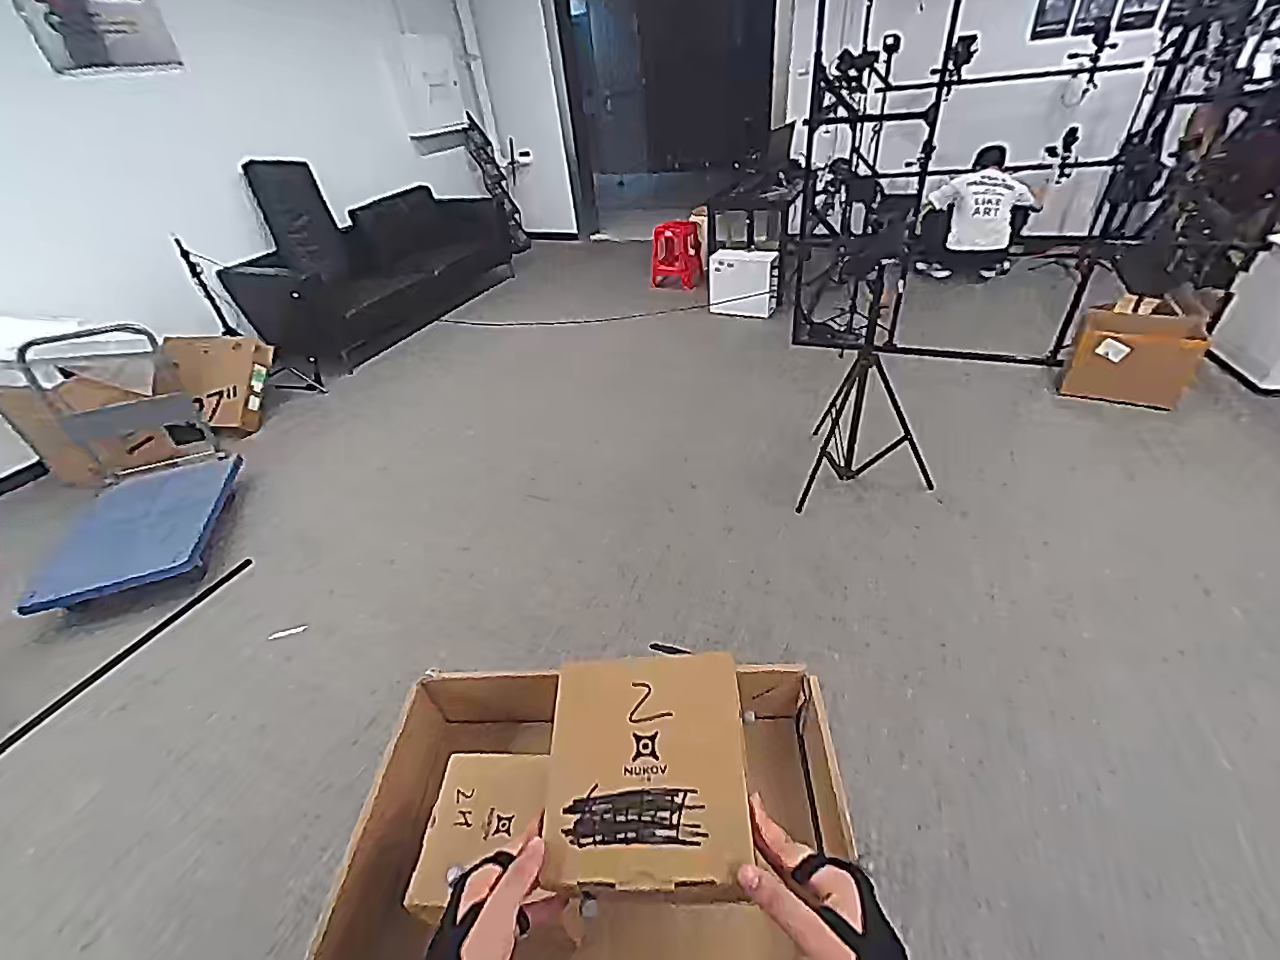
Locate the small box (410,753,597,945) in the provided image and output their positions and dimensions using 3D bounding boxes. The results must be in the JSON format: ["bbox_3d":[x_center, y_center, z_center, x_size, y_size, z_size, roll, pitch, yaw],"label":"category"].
[{"bbox_3d":[-0.158,0.477,0.702,0.179,0.176,0.168,-2,38,6],"label":"small box"}]
